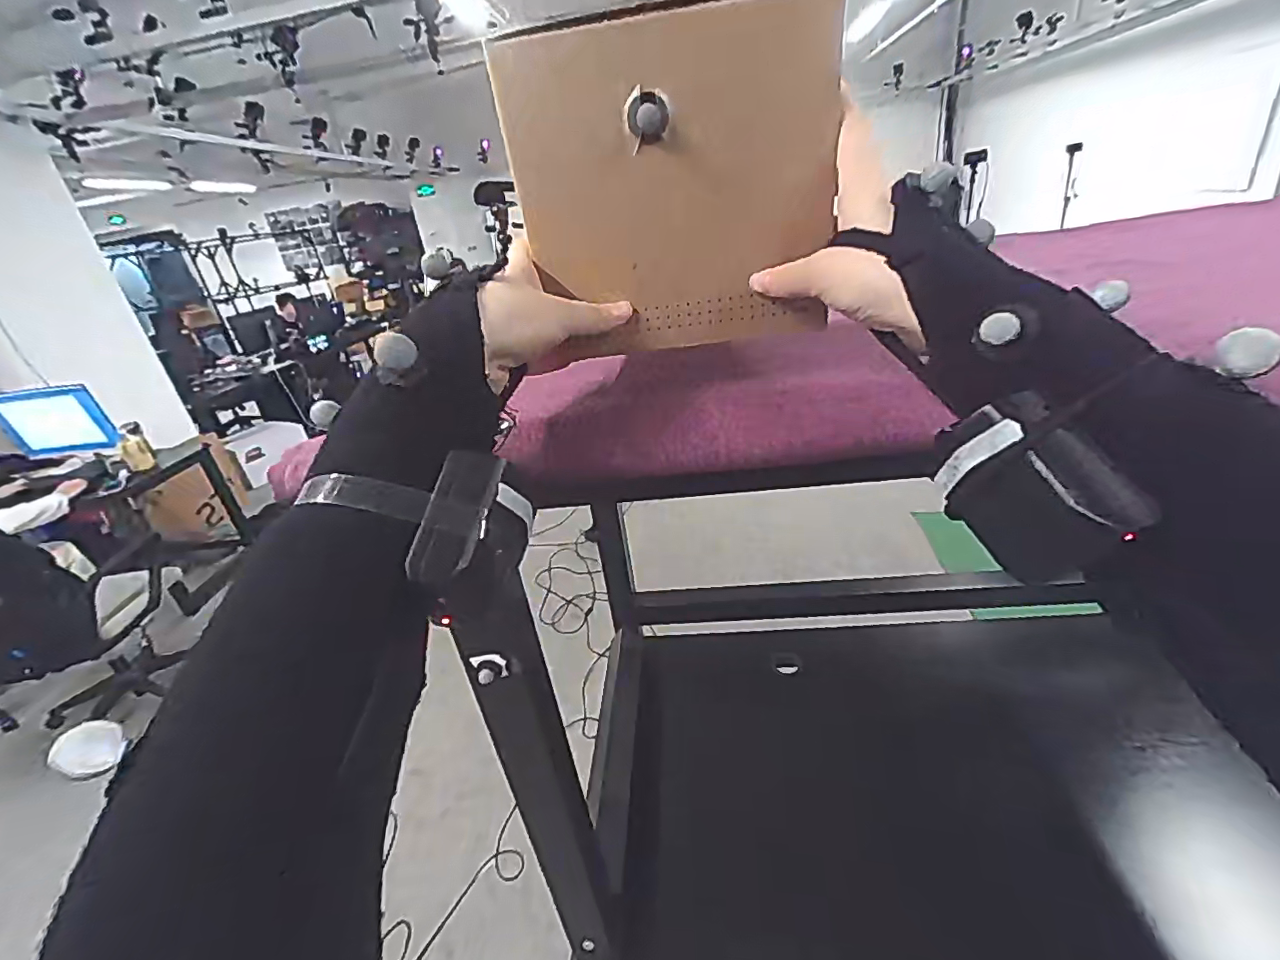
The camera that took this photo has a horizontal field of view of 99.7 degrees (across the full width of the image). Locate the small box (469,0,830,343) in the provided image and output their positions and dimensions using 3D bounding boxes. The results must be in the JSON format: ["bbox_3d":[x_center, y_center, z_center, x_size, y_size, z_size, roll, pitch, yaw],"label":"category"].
[{"bbox_3d":[0.017,-0.198,0.356,0.179,0.176,0.168,-5,33,5],"label":"small box"}]
